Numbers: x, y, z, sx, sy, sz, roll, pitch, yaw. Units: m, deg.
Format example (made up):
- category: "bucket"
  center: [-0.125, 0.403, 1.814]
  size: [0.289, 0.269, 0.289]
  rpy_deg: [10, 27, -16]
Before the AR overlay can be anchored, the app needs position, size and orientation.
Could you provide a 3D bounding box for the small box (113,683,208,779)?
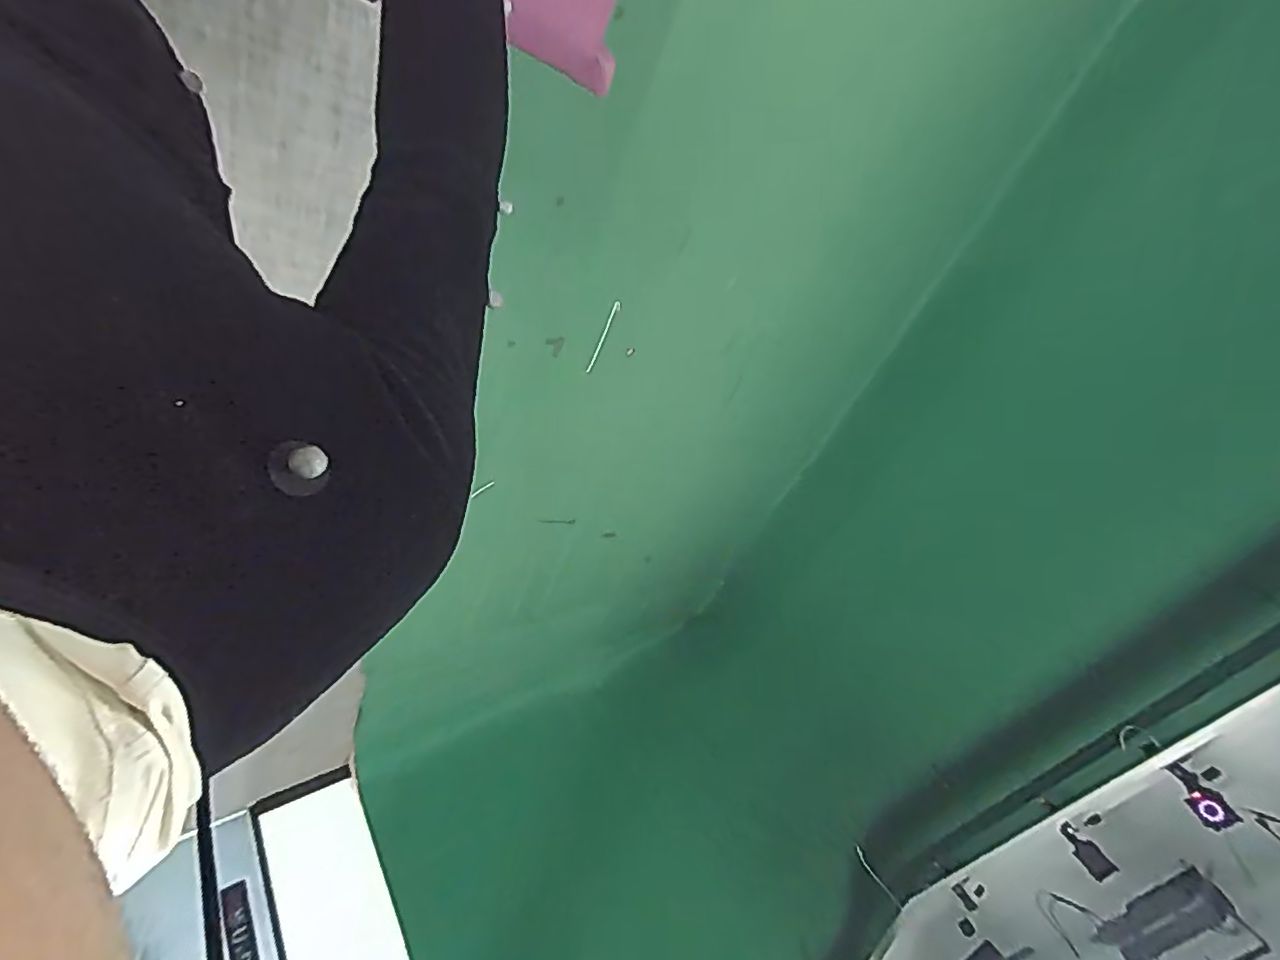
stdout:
- category: "small box"
  center: [-1.398, 0.721, 1.574]
  size: [0.179, 0.176, 0.168]
  rpy_deg: [2, 128, -50]
